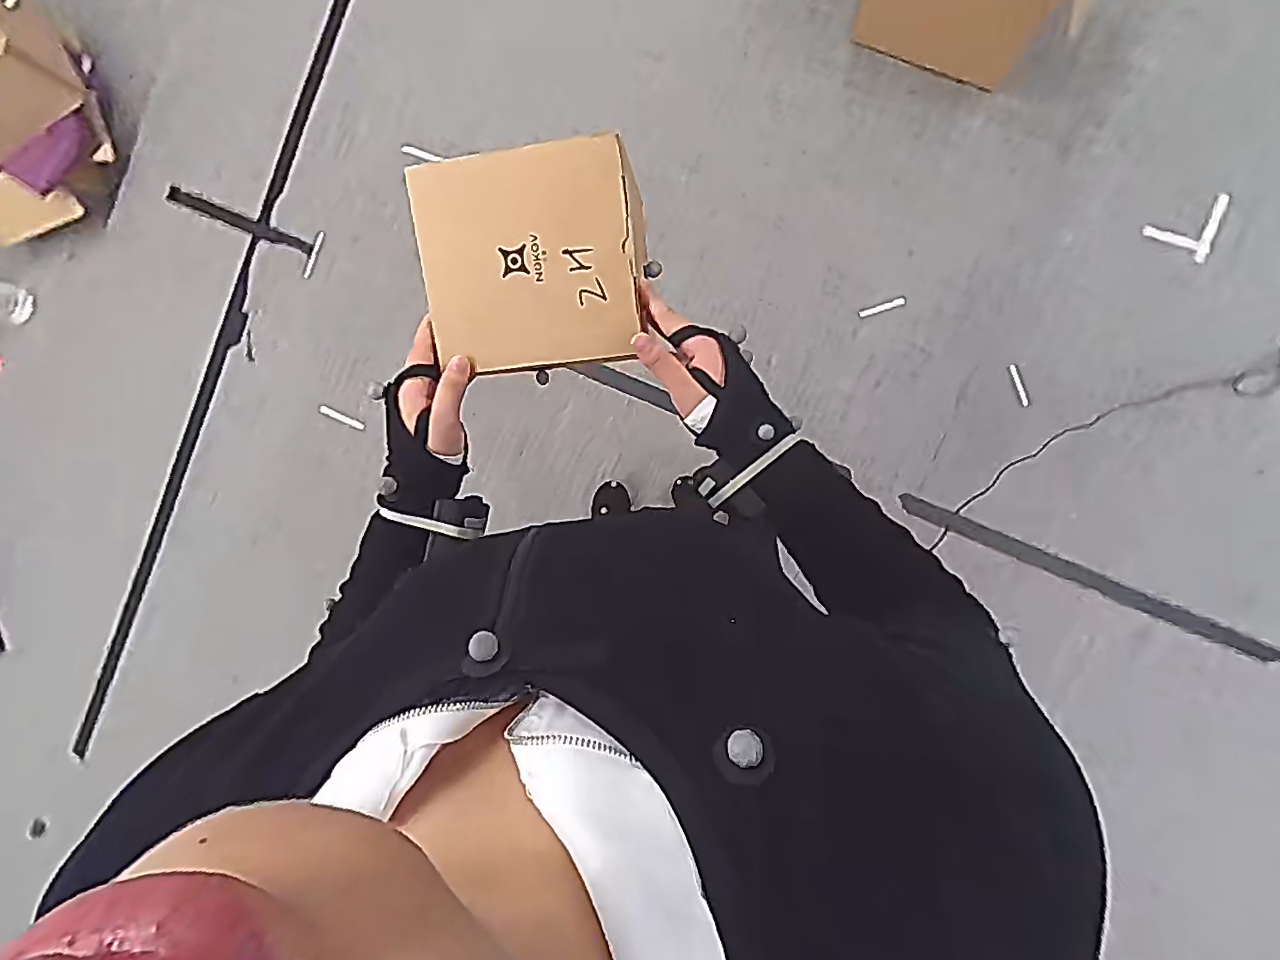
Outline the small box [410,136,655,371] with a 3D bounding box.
[{"bbox_3d":[-0.084,-0.193,0.514,0.179,0.176,0.168,-4,102,6],"label":"small box"}]
